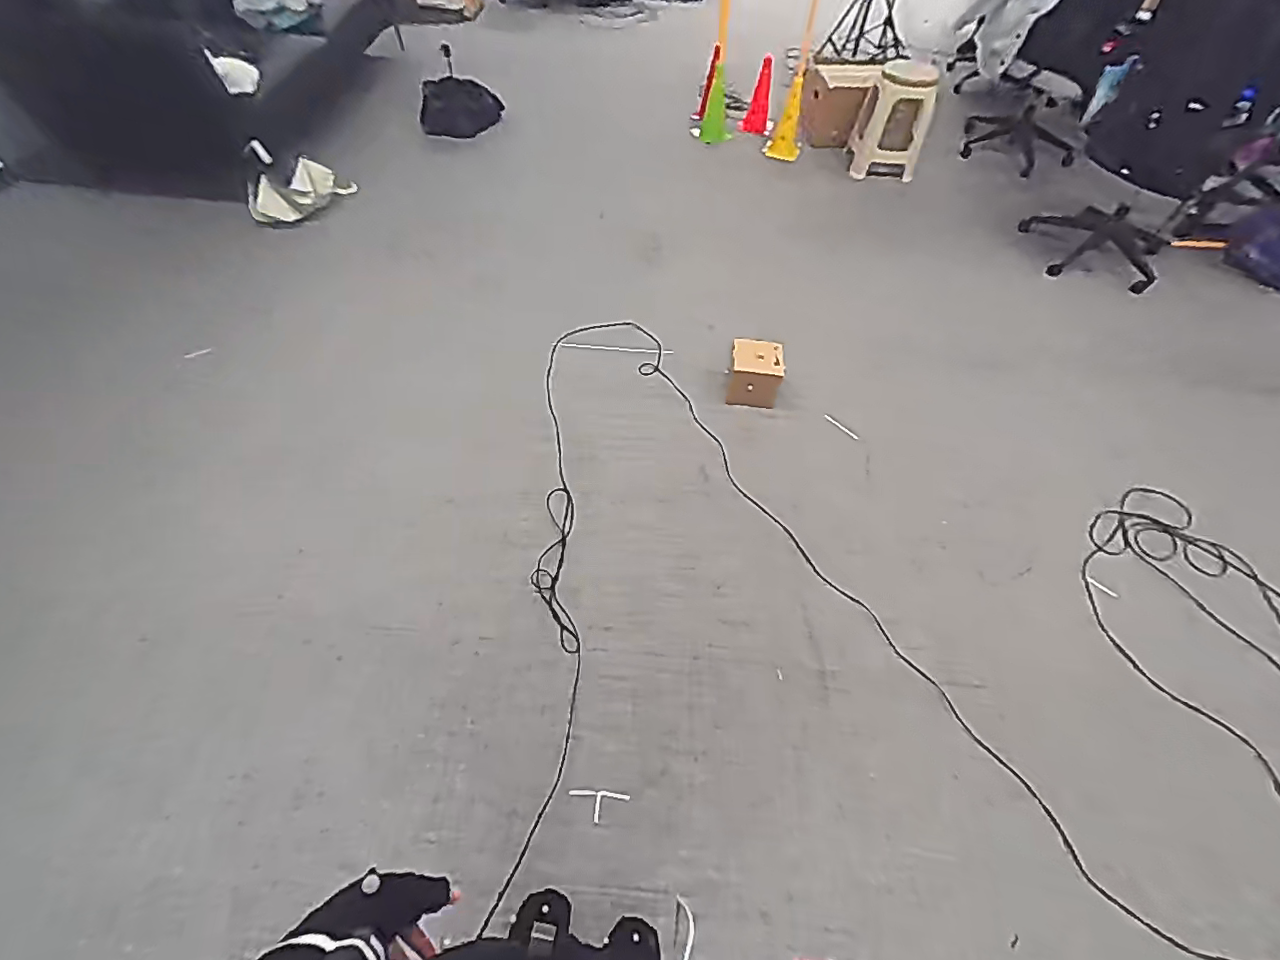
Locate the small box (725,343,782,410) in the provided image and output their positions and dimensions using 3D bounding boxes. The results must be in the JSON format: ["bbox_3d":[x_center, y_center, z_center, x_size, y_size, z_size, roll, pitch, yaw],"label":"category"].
[{"bbox_3d":[0.407,-0.371,1.955,0.179,0.176,0.168,7,55,2],"label":"small box"}]
